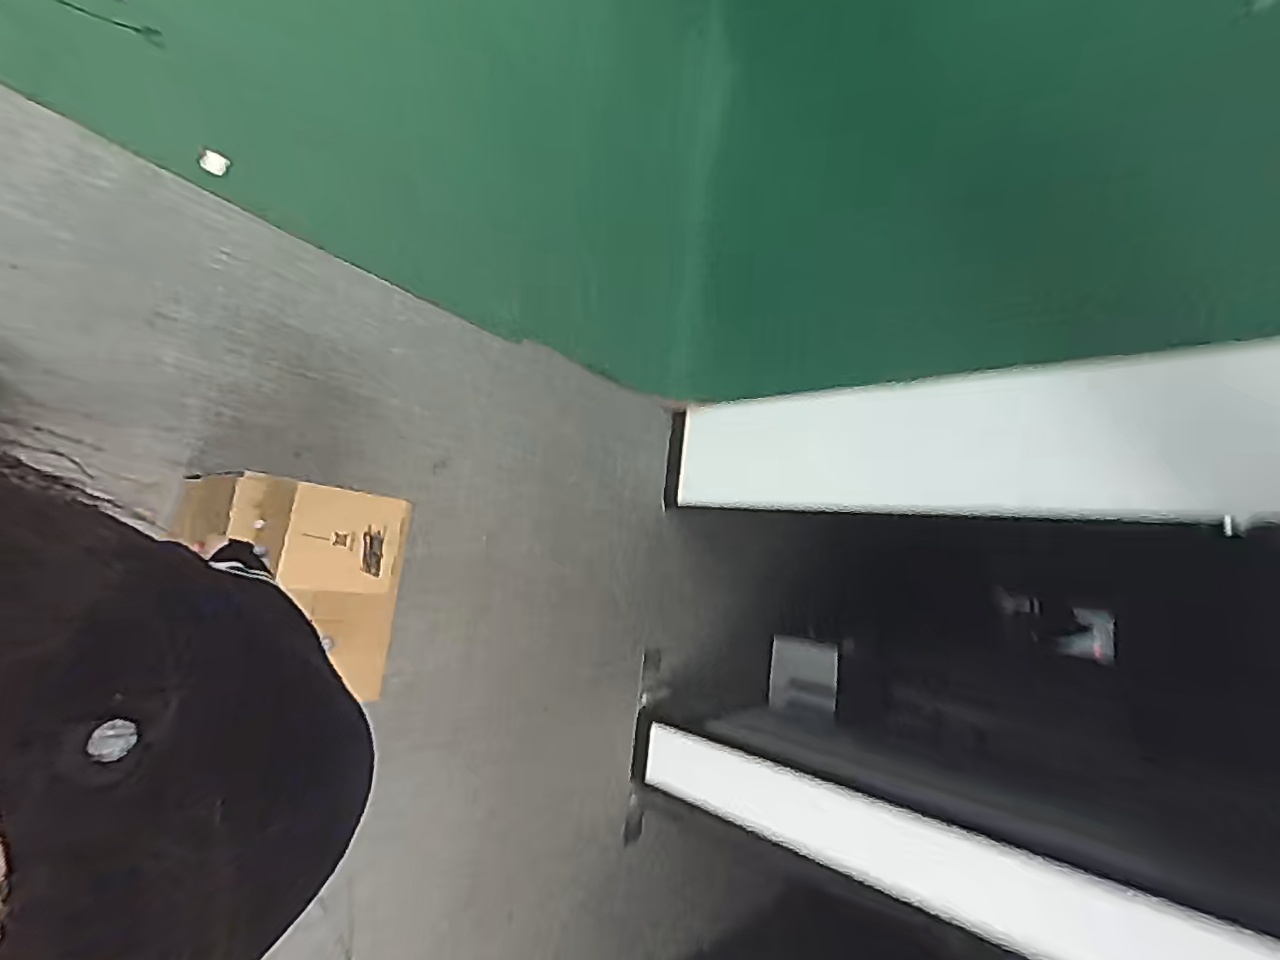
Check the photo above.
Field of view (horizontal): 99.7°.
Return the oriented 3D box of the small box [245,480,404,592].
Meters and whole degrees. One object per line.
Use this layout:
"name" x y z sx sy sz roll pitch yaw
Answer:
"small box" -0.550 0.095 0.944 0.179 0.176 0.168 19 77 -46
